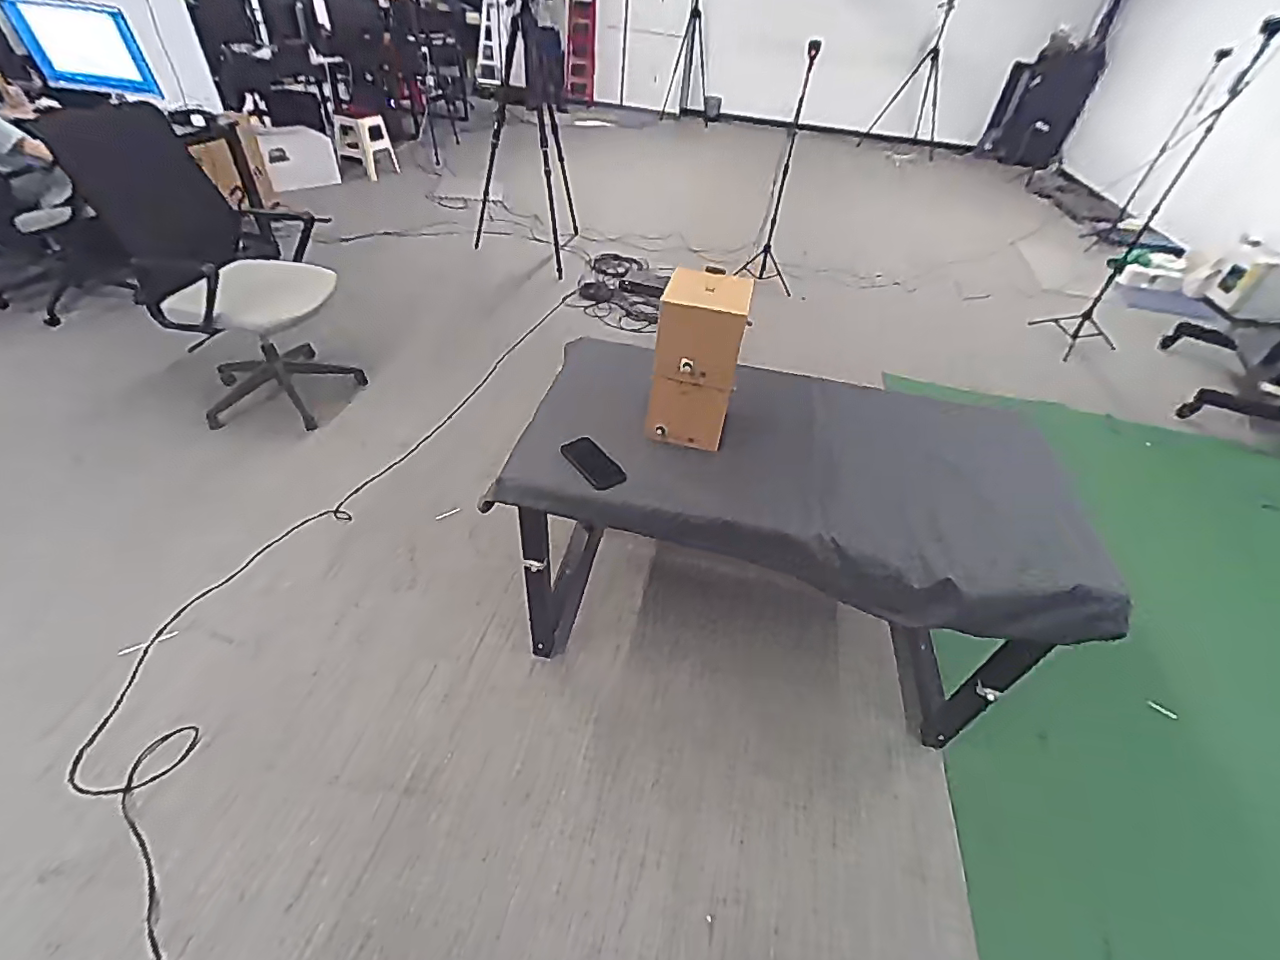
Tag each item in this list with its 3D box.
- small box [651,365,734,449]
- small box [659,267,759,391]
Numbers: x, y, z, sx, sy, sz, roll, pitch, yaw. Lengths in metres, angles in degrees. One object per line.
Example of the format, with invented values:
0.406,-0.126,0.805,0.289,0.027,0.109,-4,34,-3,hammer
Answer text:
0.124,-0.193,1.218,0.168,0.176,0.179,13,42,7,small box
0.138,-0.308,1.105,0.168,0.176,0.179,12,44,7,small box
